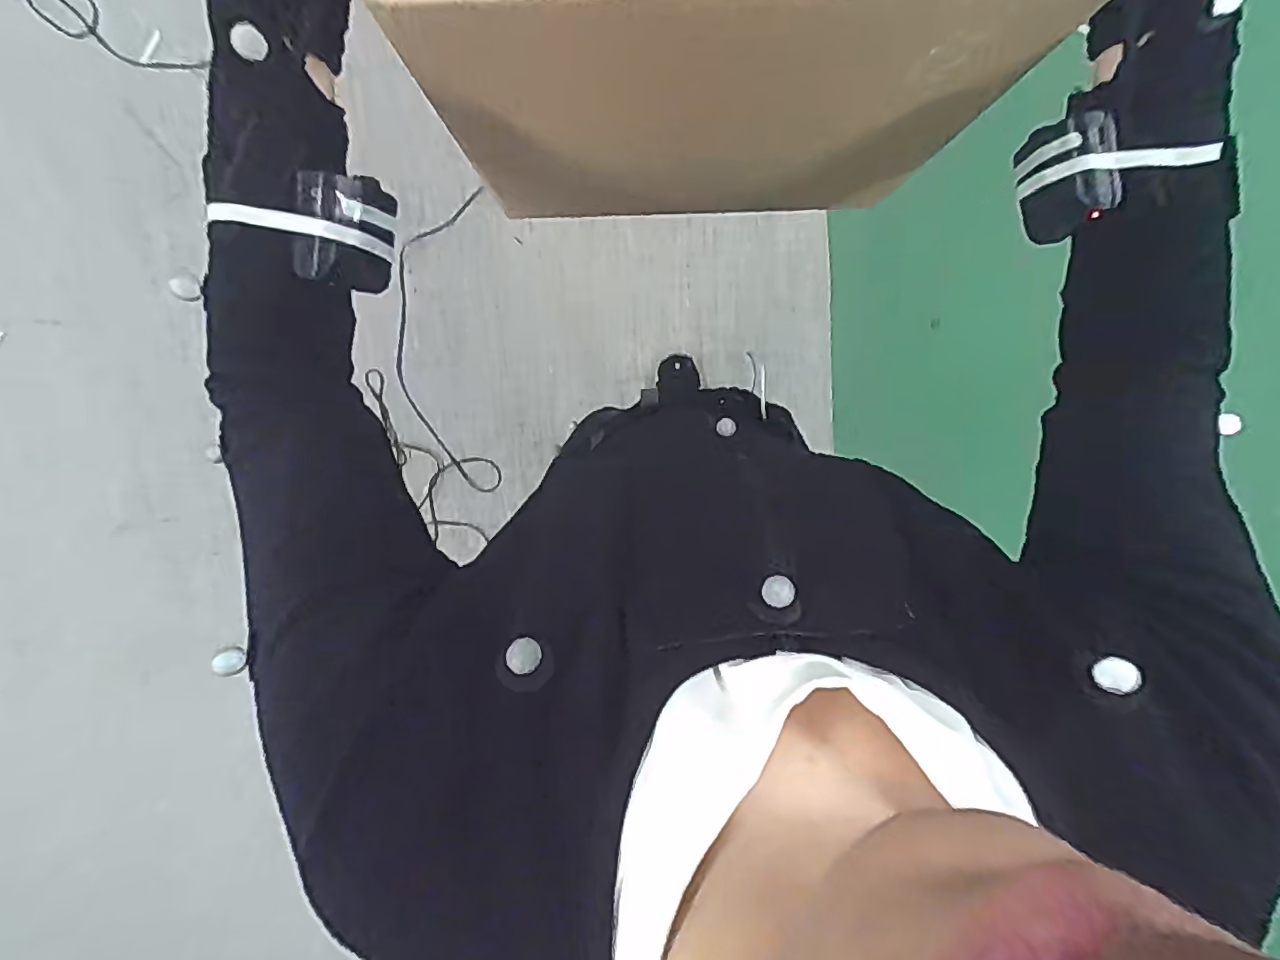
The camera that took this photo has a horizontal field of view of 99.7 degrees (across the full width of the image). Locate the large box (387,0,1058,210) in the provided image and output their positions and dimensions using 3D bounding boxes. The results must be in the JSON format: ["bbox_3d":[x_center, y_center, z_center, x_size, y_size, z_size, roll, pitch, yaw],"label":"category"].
[{"bbox_3d":[0.046,-0.434,0.417,0.408,0.320,0.320,-3,98,0],"label":"large box"}]
